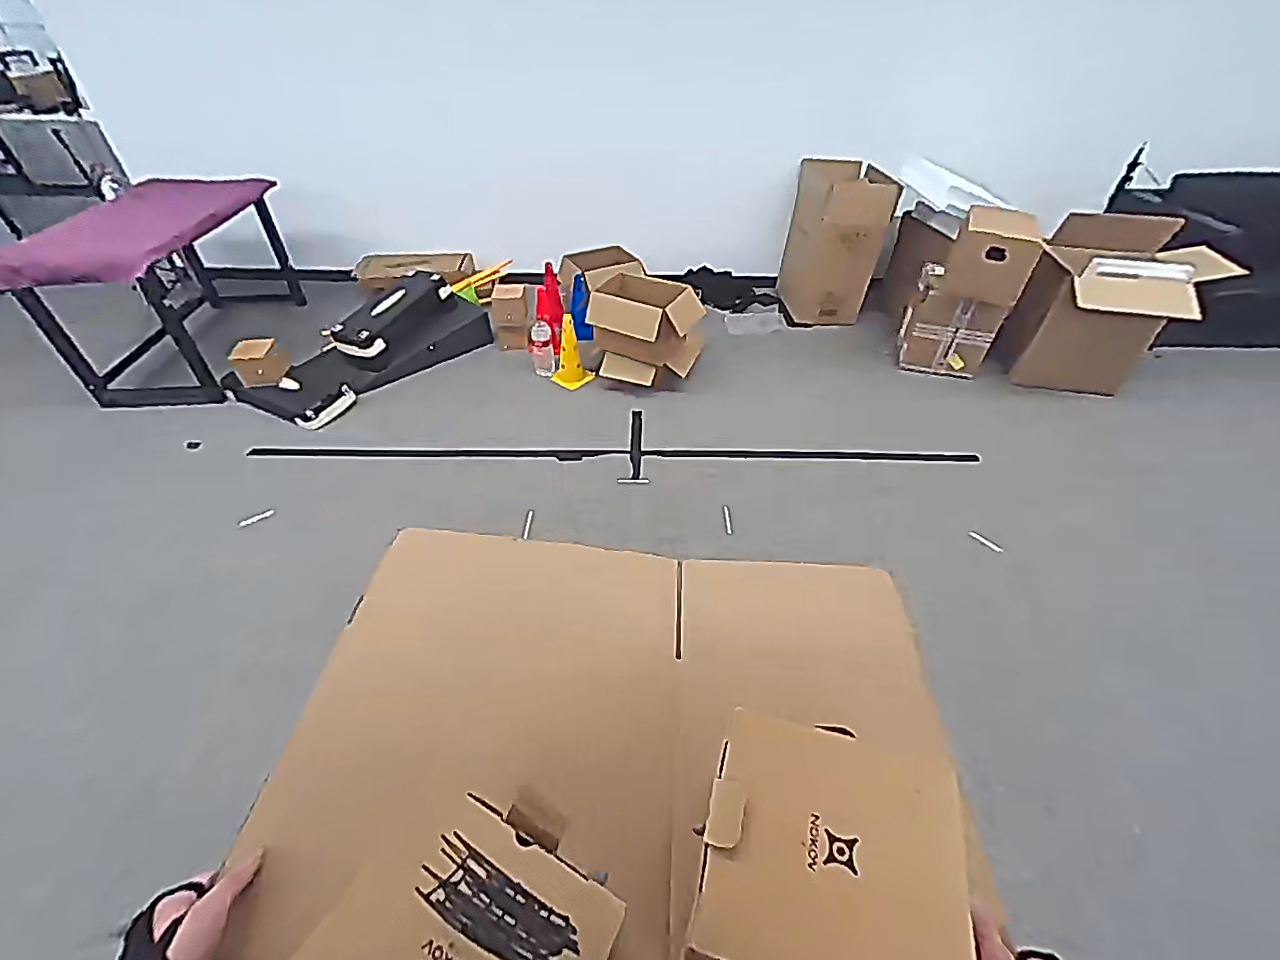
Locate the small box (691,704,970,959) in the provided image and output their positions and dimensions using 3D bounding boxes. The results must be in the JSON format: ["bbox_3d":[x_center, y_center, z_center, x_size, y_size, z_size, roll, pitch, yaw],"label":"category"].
[{"bbox_3d":[0.145,0.320,0.452,0.179,0.176,0.168,10,45,14],"label":"small box"}]
